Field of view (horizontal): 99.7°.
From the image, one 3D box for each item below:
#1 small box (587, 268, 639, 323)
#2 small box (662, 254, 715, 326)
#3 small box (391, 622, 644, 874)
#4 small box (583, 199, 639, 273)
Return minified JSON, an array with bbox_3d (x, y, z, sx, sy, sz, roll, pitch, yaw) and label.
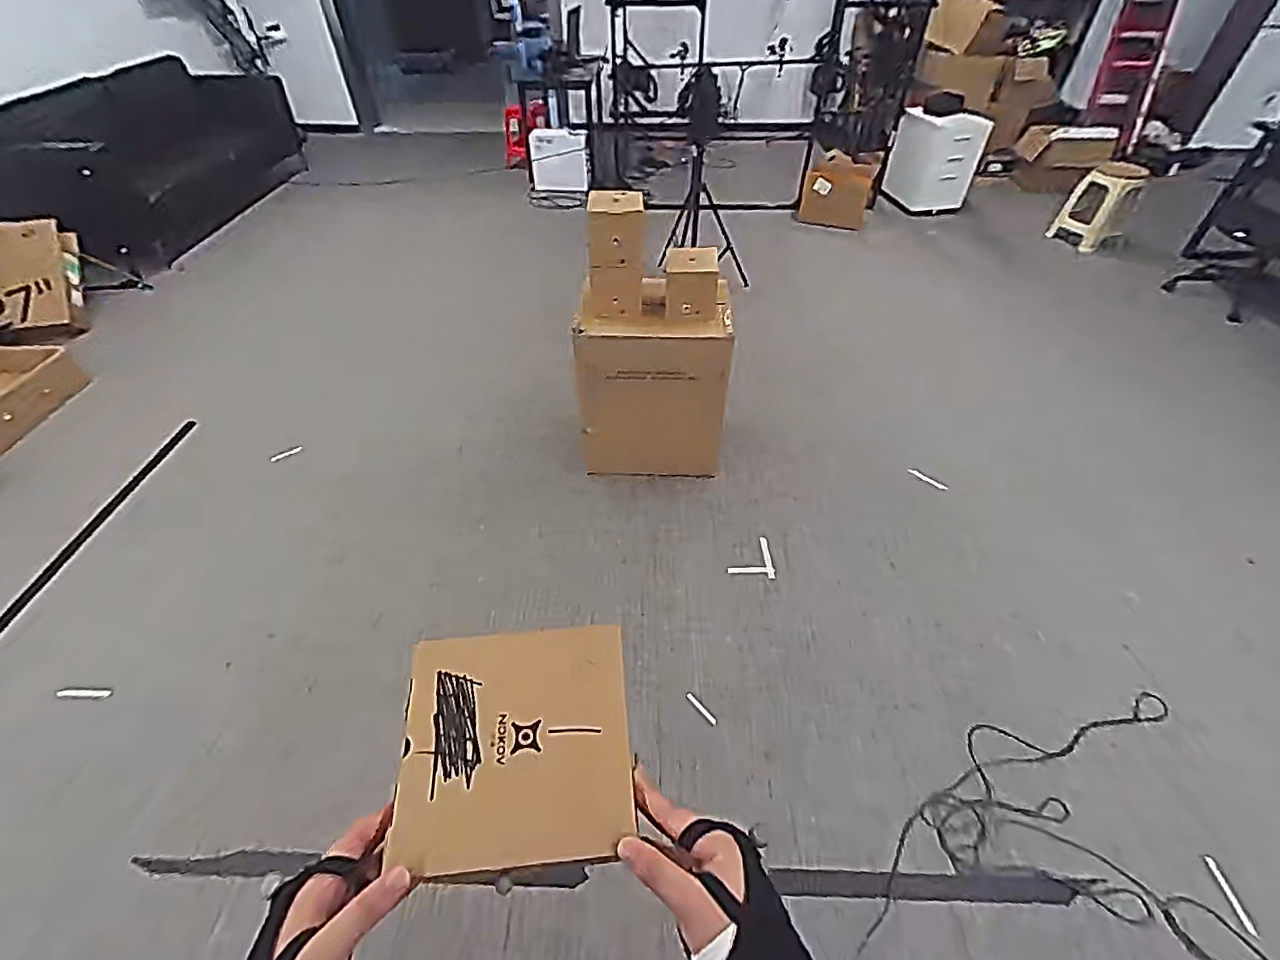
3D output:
[{"bbox_3d":[-0.087,-0.642,1.803,0.168,0.176,0.179,0,45,-1],"label":"small box"},{"bbox_3d":[0.156,-0.629,1.791,0.168,0.176,0.179,-1,46,3],"label":"small box"},{"bbox_3d":[-0.090,0.242,0.482,0.179,0.176,0.168,-5,54,-3],"label":"small box"},{"bbox_3d":[-0.088,-0.760,1.689,0.168,0.176,0.179,-1,46,-2],"label":"small box"}]
